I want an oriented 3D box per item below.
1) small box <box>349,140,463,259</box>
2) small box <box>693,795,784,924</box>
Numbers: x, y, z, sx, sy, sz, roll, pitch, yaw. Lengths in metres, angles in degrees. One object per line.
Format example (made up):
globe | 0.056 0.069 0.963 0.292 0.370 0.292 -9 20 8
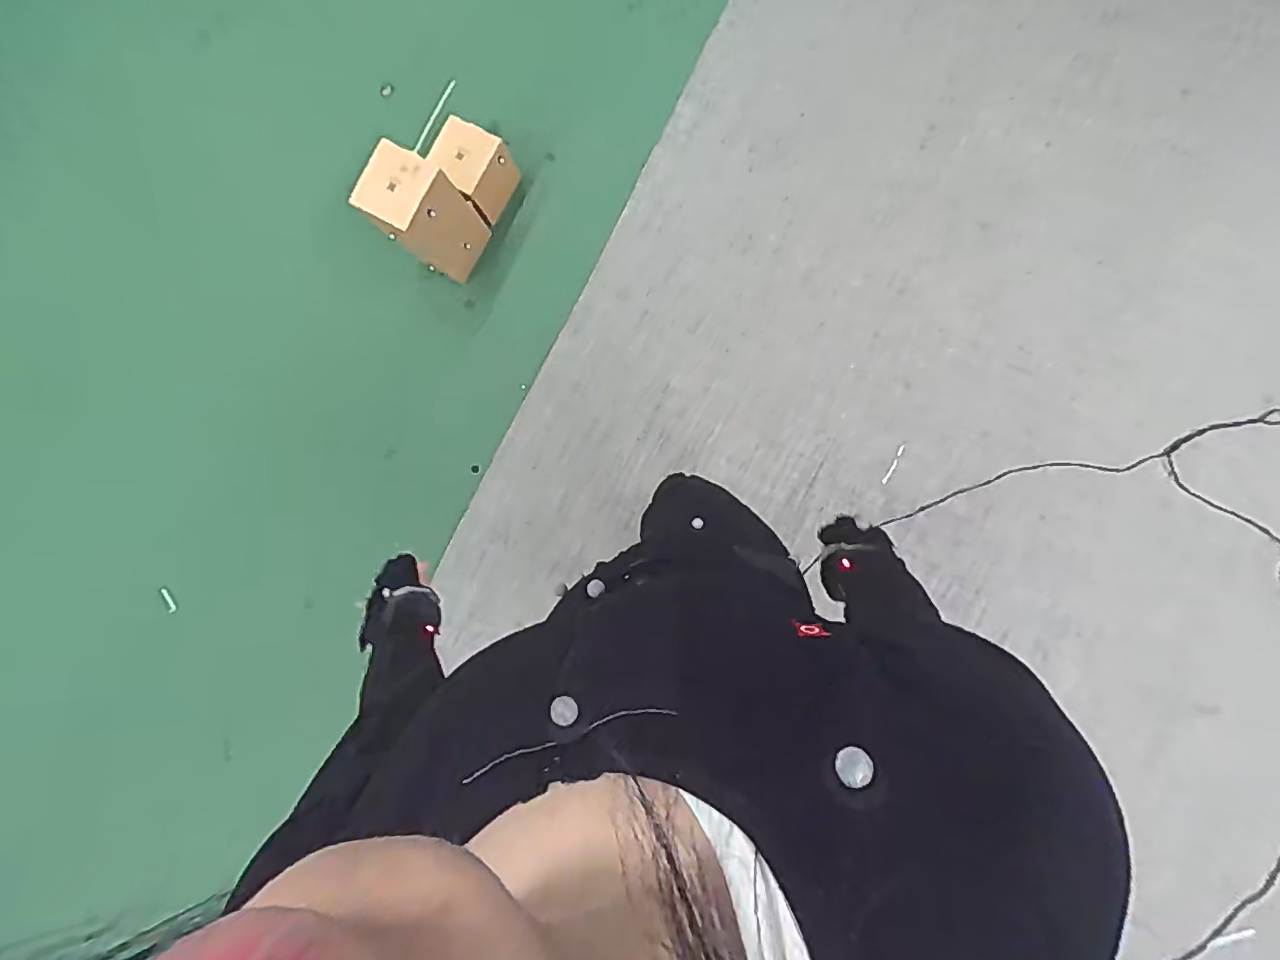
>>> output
small box | -0.571 -0.686 1.346 0.168 0.176 0.179 29 90 5
small box | 0.235 0.931 1.346 0.168 0.176 0.179 22 89 5
